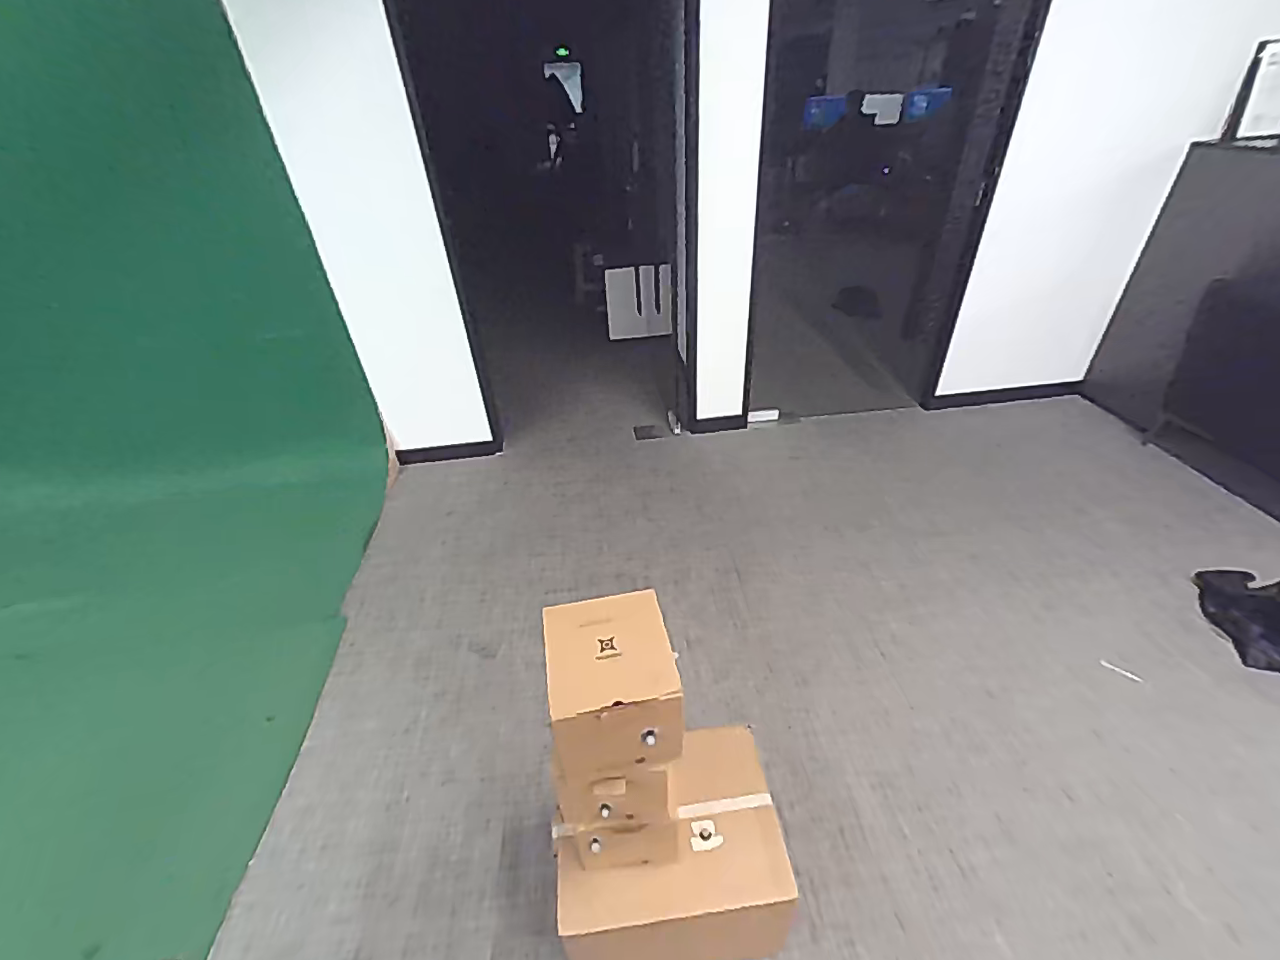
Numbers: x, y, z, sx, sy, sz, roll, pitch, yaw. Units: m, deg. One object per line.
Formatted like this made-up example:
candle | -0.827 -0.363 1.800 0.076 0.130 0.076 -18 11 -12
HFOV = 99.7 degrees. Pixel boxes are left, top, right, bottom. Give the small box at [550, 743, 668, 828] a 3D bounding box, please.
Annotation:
small box | -0.042 0.418 0.855 0.168 0.176 0.179 -2 36 1

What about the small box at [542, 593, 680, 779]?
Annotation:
small box | -0.041 0.290 0.756 0.168 0.176 0.179 -8 36 -8

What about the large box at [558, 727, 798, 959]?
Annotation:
large box | 0.053 0.748 1.086 0.408 0.320 0.320 -5 37 -5
